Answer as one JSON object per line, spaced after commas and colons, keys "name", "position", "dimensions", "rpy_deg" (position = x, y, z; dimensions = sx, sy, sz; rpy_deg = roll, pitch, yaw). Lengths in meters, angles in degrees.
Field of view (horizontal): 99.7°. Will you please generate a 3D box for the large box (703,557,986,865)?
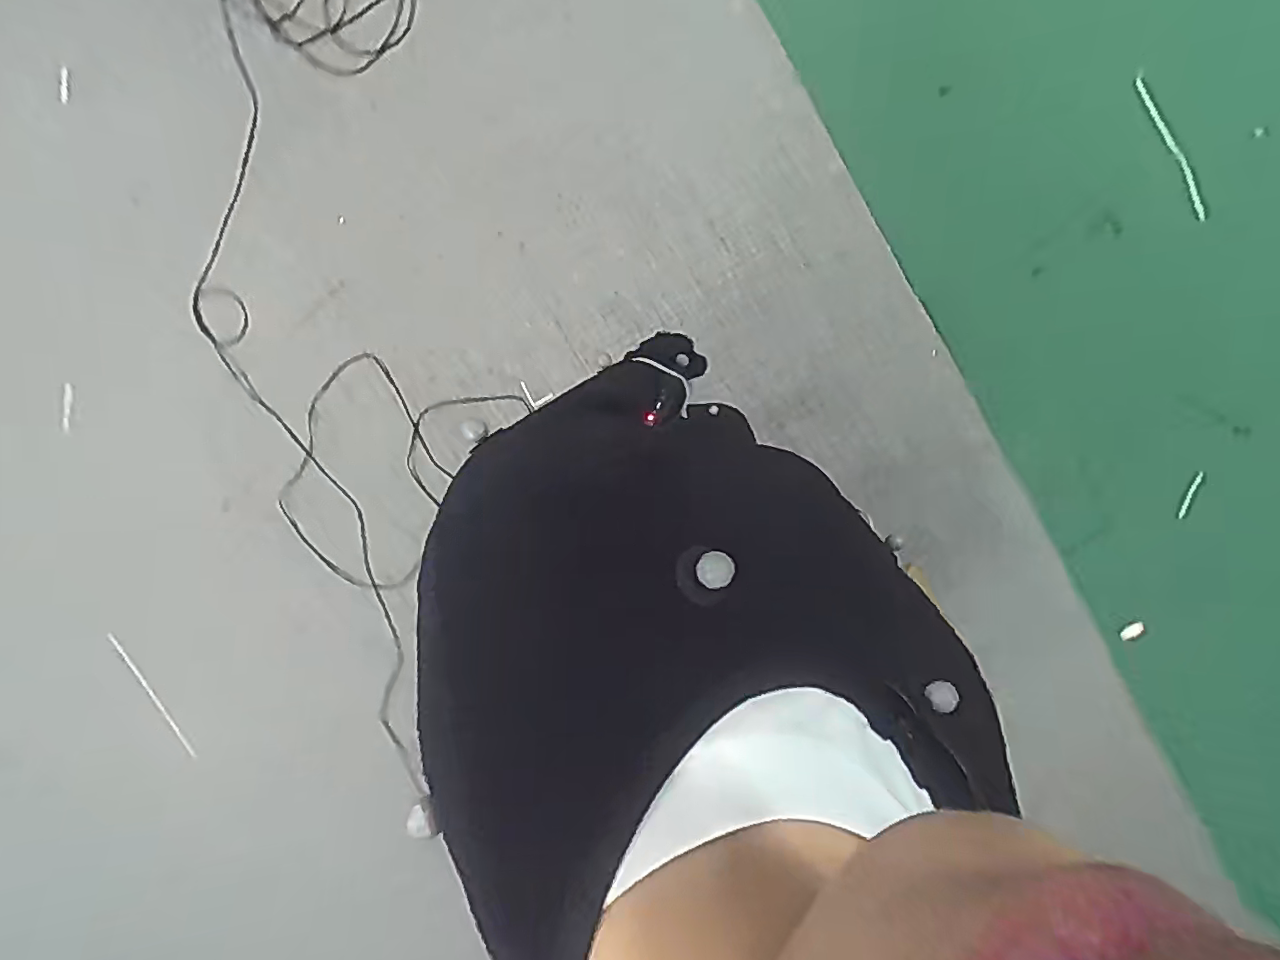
{"name": "large box", "position": [0.386, 0.404, 0.996], "dimensions": [0.320, 0.408, 0.320], "rpy_deg": [-31, 90, 41]}
